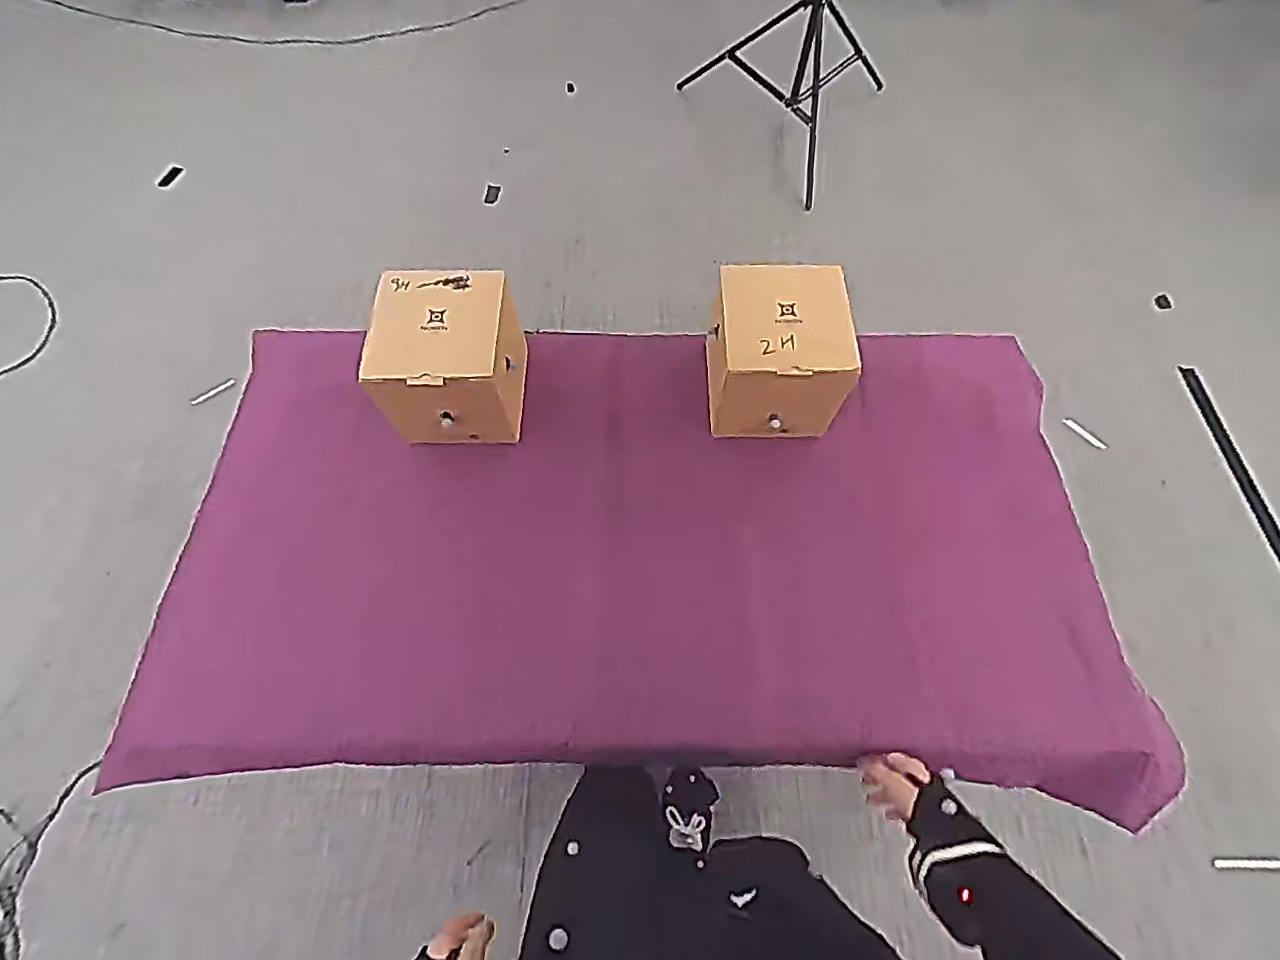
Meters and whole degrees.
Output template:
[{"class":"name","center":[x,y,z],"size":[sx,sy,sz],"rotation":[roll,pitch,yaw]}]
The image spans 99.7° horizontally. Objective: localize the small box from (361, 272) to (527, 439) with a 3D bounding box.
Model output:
[{"class":"small box","center":[-0.260,-0.167,0.764],"size":[0.168,0.176,0.179],"rotation":[0,67,-1]}]

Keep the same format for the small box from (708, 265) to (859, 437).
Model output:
[{"class":"small box","center":[0.188,-0.178,0.768],"size":[0.168,0.176,0.179],"rotation":[0,66,1]}]
